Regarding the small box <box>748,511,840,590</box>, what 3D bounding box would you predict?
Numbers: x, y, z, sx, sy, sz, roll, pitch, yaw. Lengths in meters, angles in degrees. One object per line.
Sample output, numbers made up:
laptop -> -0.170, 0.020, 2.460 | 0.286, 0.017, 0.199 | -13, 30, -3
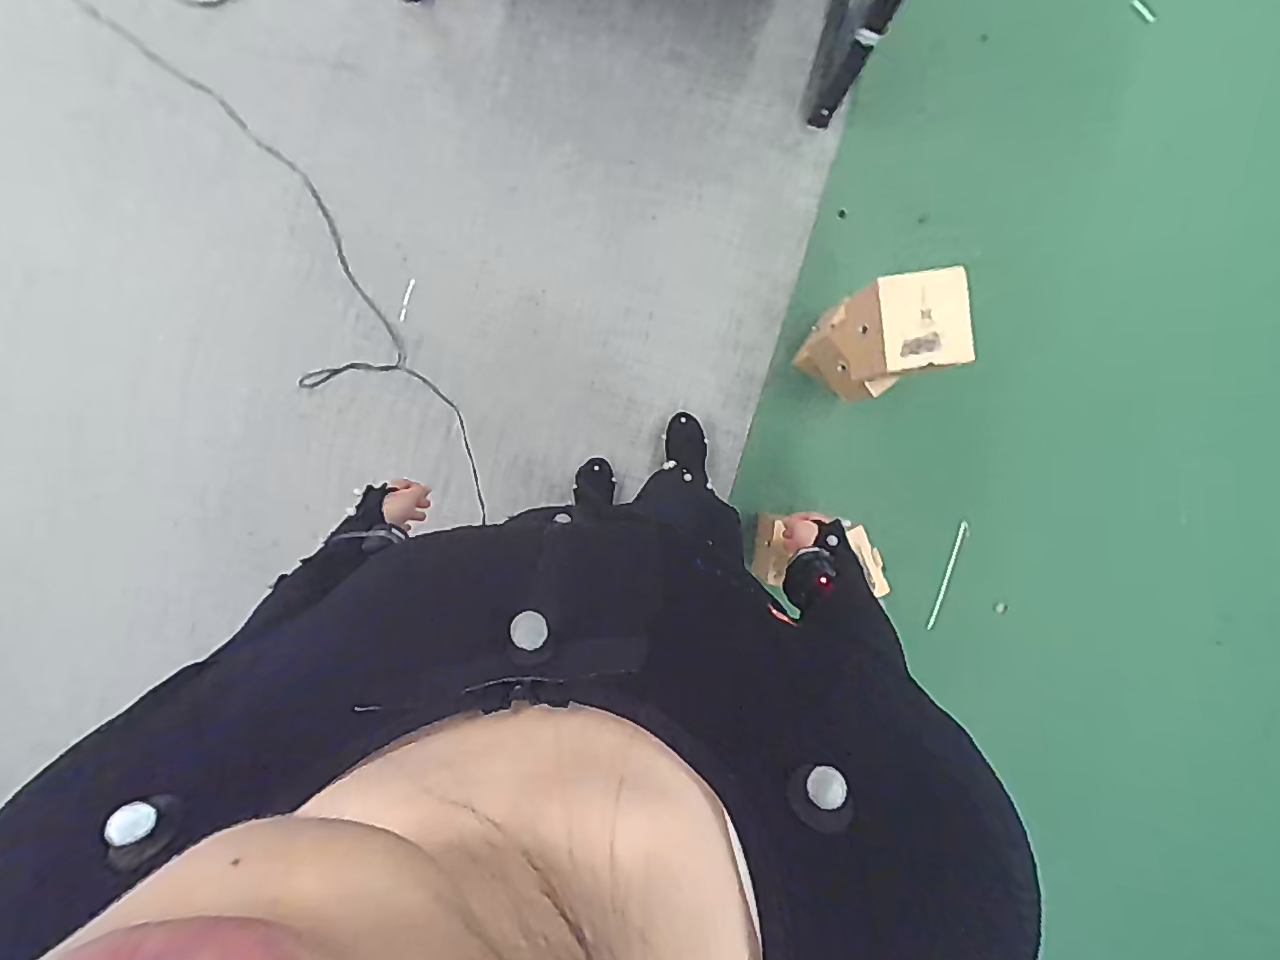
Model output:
small box -> 0.398, 0.179, 1.425 | 0.179, 0.176, 0.168 | 7, 94, -3

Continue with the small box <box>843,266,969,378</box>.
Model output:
small box -> 0.518, -0.301, 1.071 | 0.168, 0.176, 0.179 | -7, 93, 0

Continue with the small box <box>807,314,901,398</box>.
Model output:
small box -> 0.512, -0.303, 1.235 | 0.168, 0.176, 0.179 | -36, 94, 2

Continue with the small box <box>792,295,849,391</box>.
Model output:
small box -> 0.523, -0.342, 1.395 | 0.179, 0.176, 0.168 | 33, 93, -3
